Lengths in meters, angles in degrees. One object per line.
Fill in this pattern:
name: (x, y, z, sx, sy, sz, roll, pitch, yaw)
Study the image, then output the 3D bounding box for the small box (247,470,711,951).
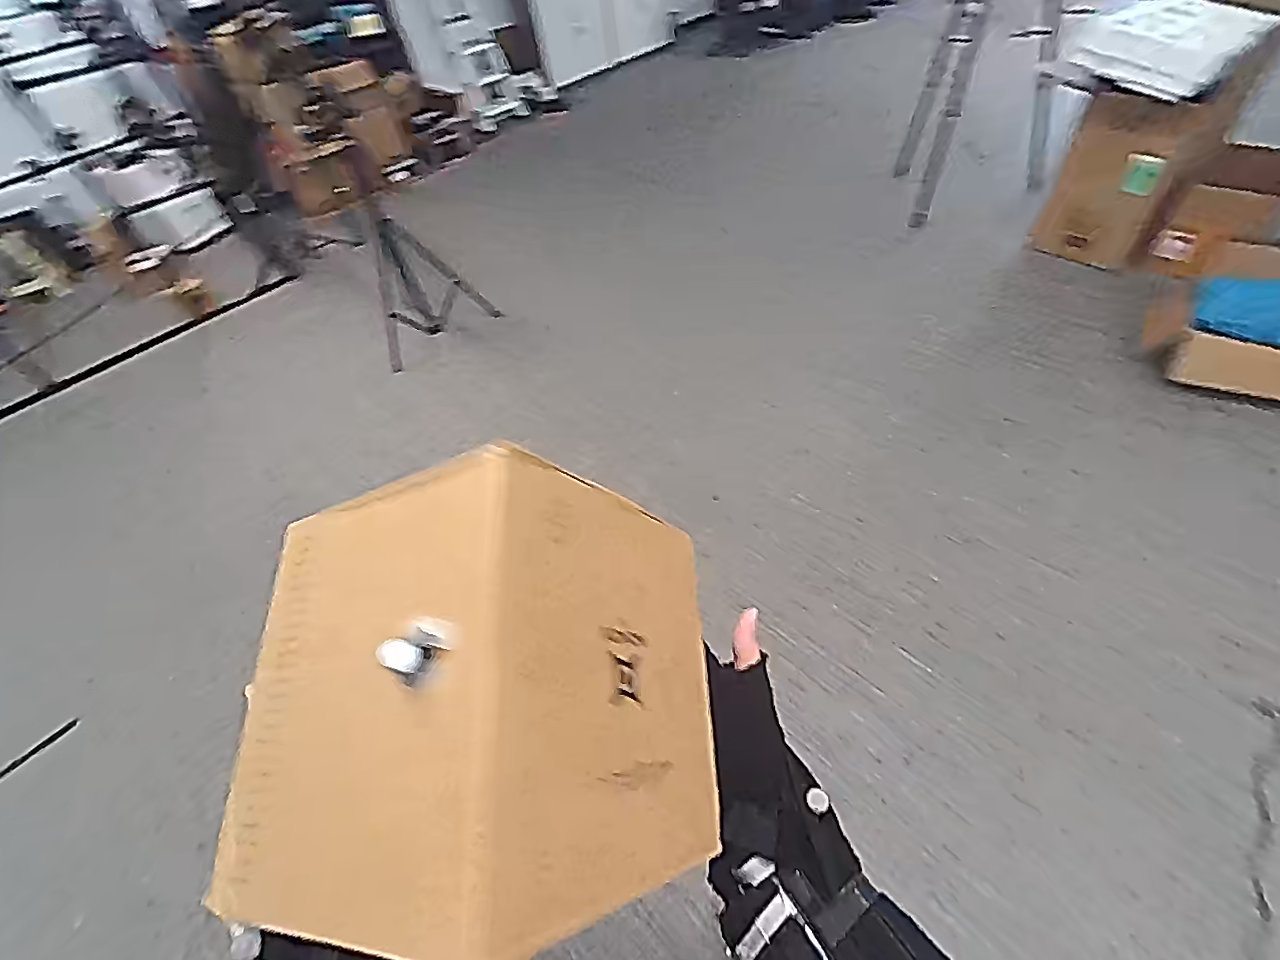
small box: (-0.076, 0.119, 0.302, 0.176, 0.168, 0.179, -16, 63, 25)
